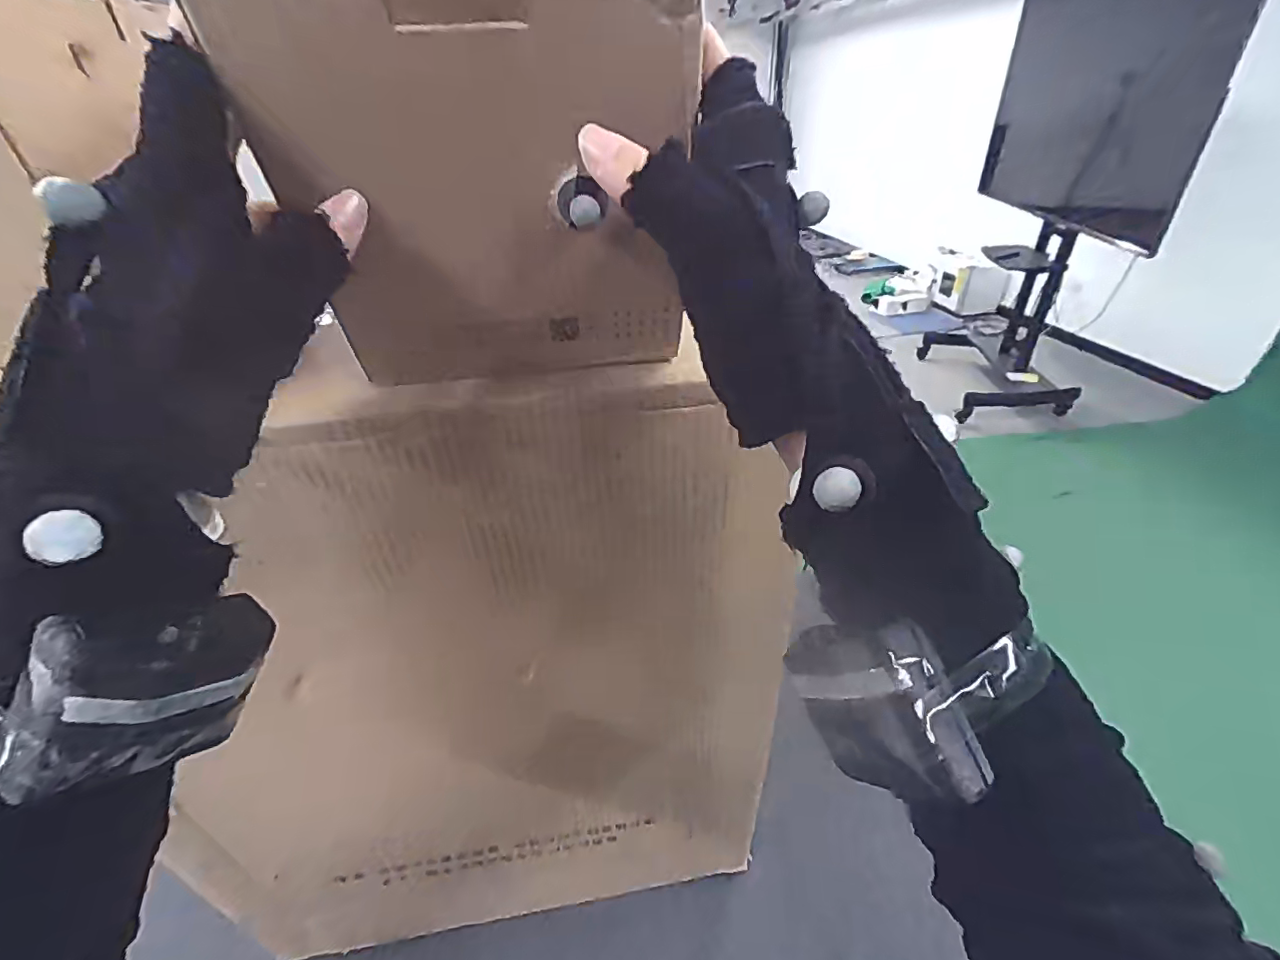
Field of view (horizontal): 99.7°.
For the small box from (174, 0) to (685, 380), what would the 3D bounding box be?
[{"bbox_3d":[-0.075,-0.166,0.285,0.168,0.176,0.179,-5,51,-6],"label":"small box"}]
